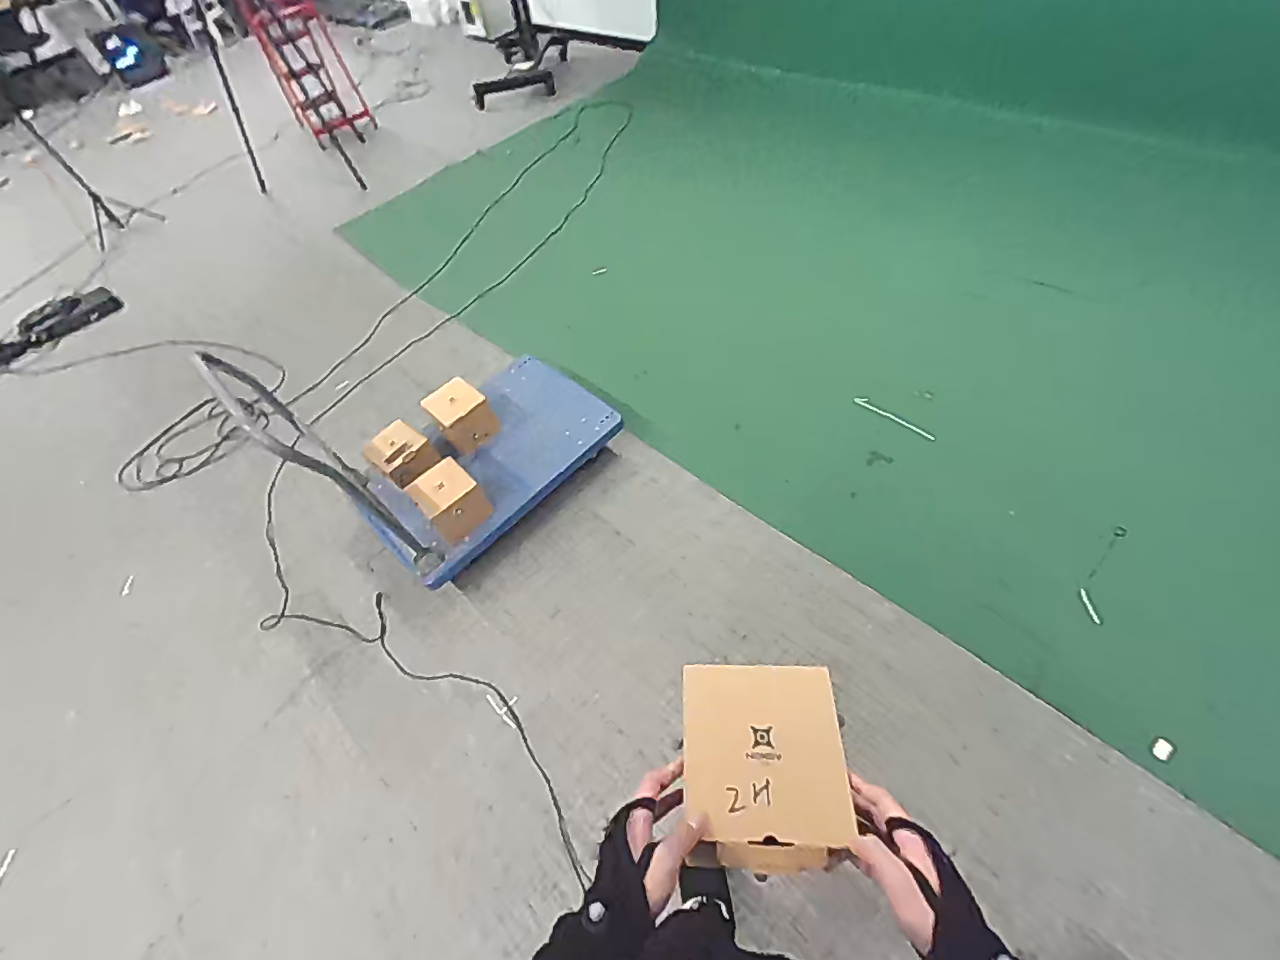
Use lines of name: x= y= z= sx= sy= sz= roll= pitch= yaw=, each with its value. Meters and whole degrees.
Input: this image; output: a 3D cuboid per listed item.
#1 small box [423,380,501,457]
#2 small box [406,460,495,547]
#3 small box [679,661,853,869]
small box: x=-0.625 y=-0.214 z=1.917 sx=0.179 sy=0.176 sz=0.168 roll=36 pitch=67 yaw=27
small box: x=-0.589 y=0.079 z=1.700 sx=0.179 sy=0.176 sz=0.168 roll=-40 pitch=59 yaw=-20
small box: x=0.129 y=0.328 z=0.626 sx=0.168 sy=0.176 sz=0.179 roll=-2 pitch=48 yaw=6
